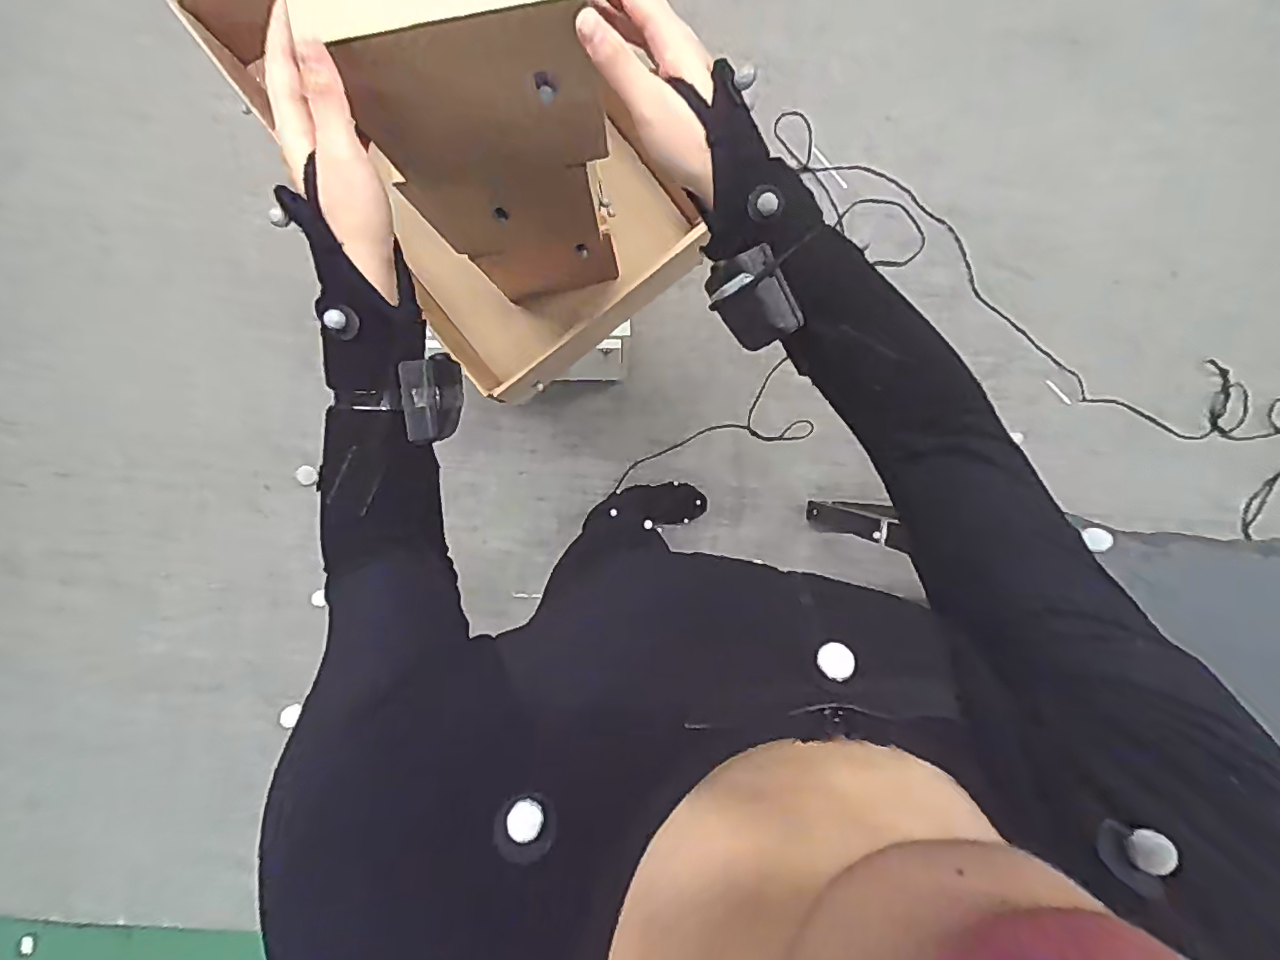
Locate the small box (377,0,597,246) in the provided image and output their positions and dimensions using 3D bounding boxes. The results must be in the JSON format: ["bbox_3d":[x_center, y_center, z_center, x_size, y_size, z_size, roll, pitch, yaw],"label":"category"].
[{"bbox_3d":[-0.140,-0.361,0.560,0.179,0.176,0.168,-4,91,3],"label":"small box"}]

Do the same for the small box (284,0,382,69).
[{"bbox_3d":[-0.309,-0.576,0.543,0.168,0.176,0.179,-22,96,2],"label":"small box"}]
